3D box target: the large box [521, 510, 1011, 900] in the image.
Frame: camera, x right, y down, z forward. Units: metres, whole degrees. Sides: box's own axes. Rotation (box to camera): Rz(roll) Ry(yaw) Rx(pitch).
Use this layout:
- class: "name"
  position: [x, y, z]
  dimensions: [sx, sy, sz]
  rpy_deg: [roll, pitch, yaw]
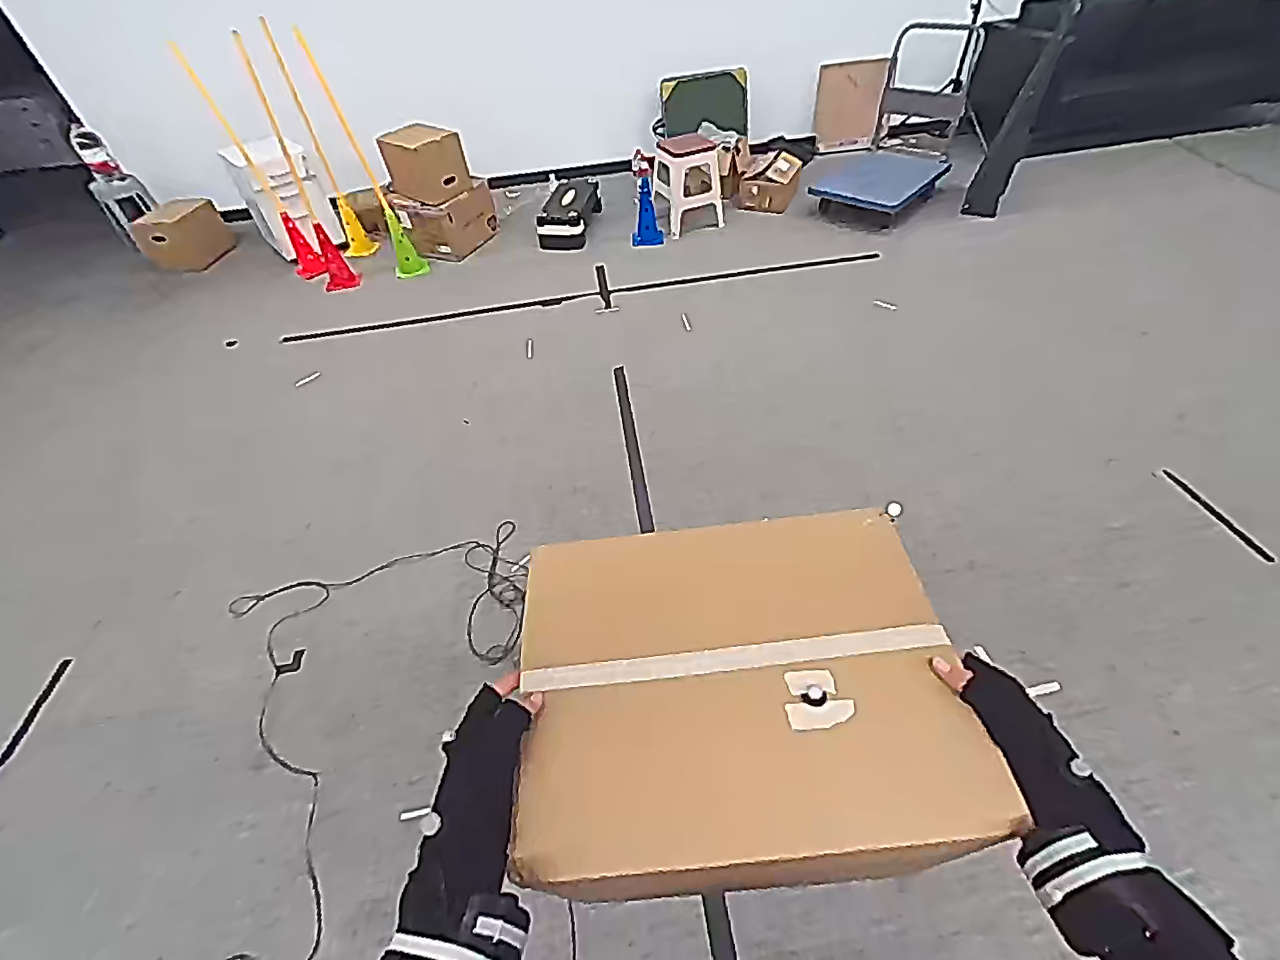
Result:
- class: "large box"
  position: [0.101, 0.270, 0.637]
  dimensions: [0.408, 0.320, 0.320]
  rpy_deg: [-7, 49, 2]
